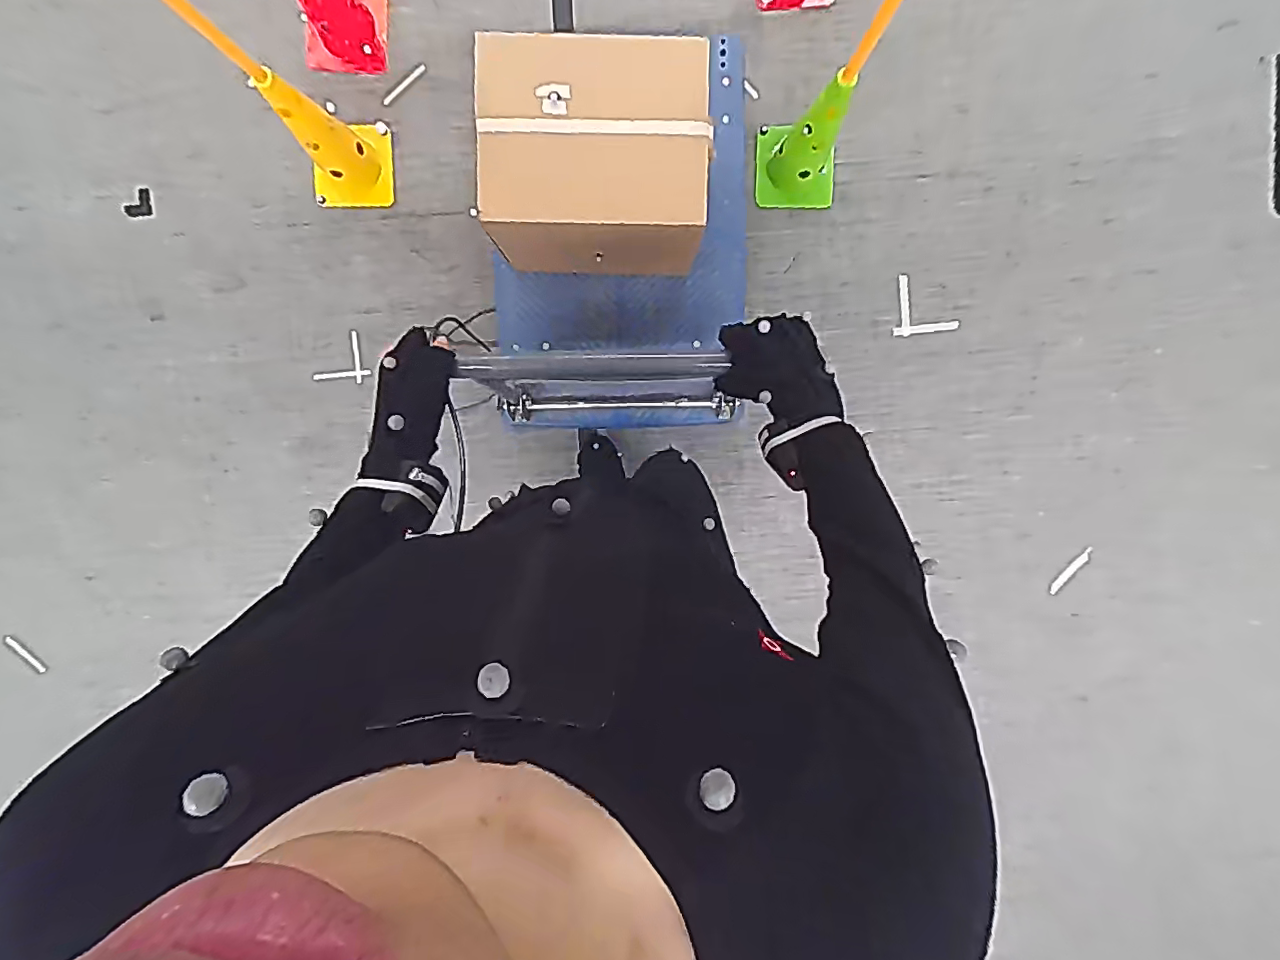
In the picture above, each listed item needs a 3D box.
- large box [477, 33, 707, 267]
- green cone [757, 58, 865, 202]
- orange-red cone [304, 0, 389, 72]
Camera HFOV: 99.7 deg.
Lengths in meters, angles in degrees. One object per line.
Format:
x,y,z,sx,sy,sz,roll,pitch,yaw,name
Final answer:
-0.080,-0.627,1.089,0.408,0.320,0.320,1,95,0,large box
0.405,-0.804,1.218,0.202,0.368,0.200,0,95,-1,green cone
-0.729,-1.126,1.187,0.198,0.360,0.199,4,94,-1,orange-red cone
